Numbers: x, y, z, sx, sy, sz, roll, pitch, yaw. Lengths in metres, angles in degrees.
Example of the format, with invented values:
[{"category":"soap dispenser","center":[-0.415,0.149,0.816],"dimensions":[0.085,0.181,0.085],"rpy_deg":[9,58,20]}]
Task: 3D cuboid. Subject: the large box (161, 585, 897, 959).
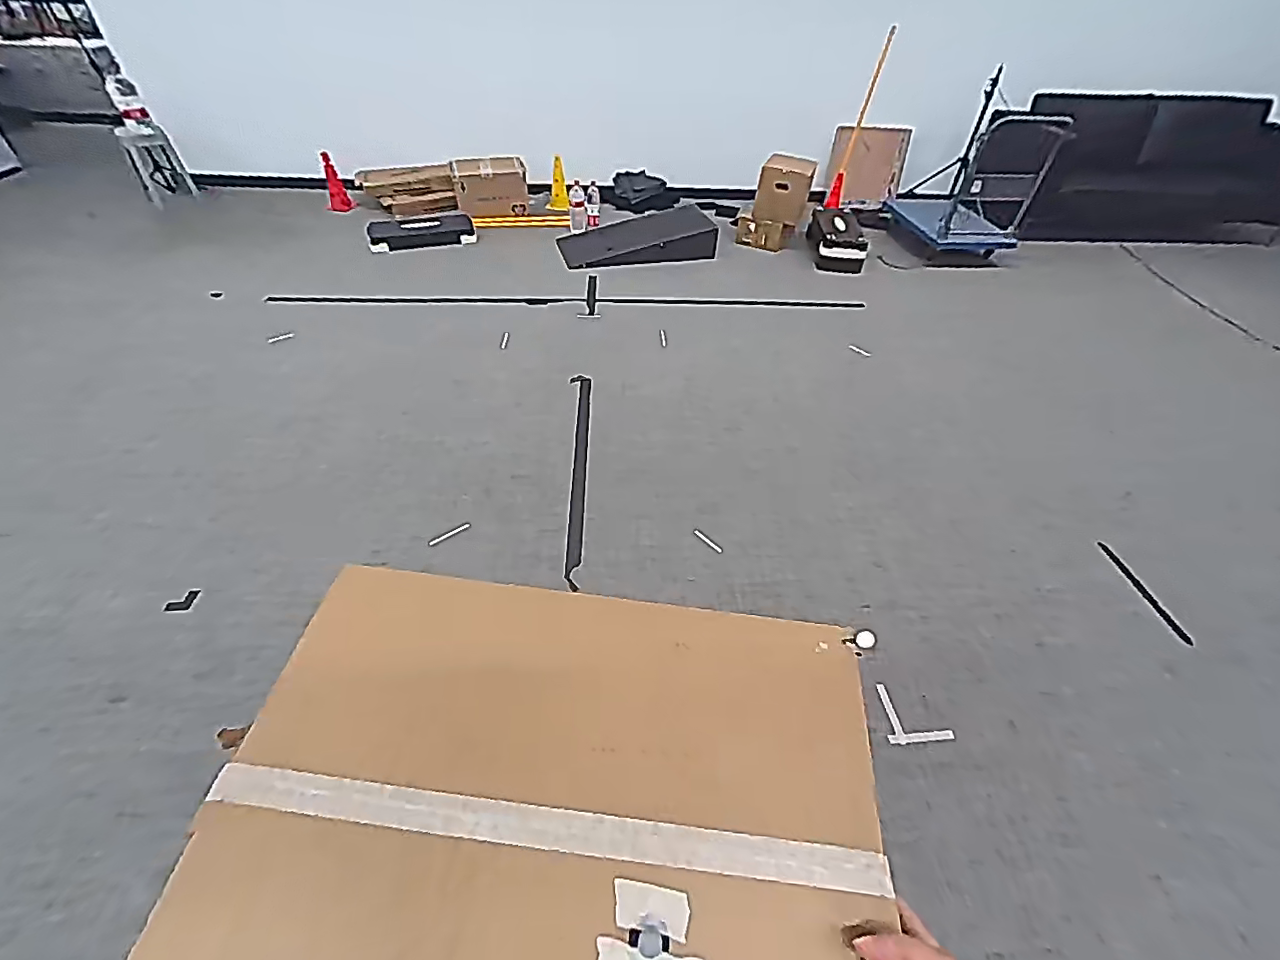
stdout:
[{"category":"large box","center":[-0.058,0.315,0.444],"dimensions":[0.408,0.320,0.320],"rpy_deg":[7,50,2]}]
